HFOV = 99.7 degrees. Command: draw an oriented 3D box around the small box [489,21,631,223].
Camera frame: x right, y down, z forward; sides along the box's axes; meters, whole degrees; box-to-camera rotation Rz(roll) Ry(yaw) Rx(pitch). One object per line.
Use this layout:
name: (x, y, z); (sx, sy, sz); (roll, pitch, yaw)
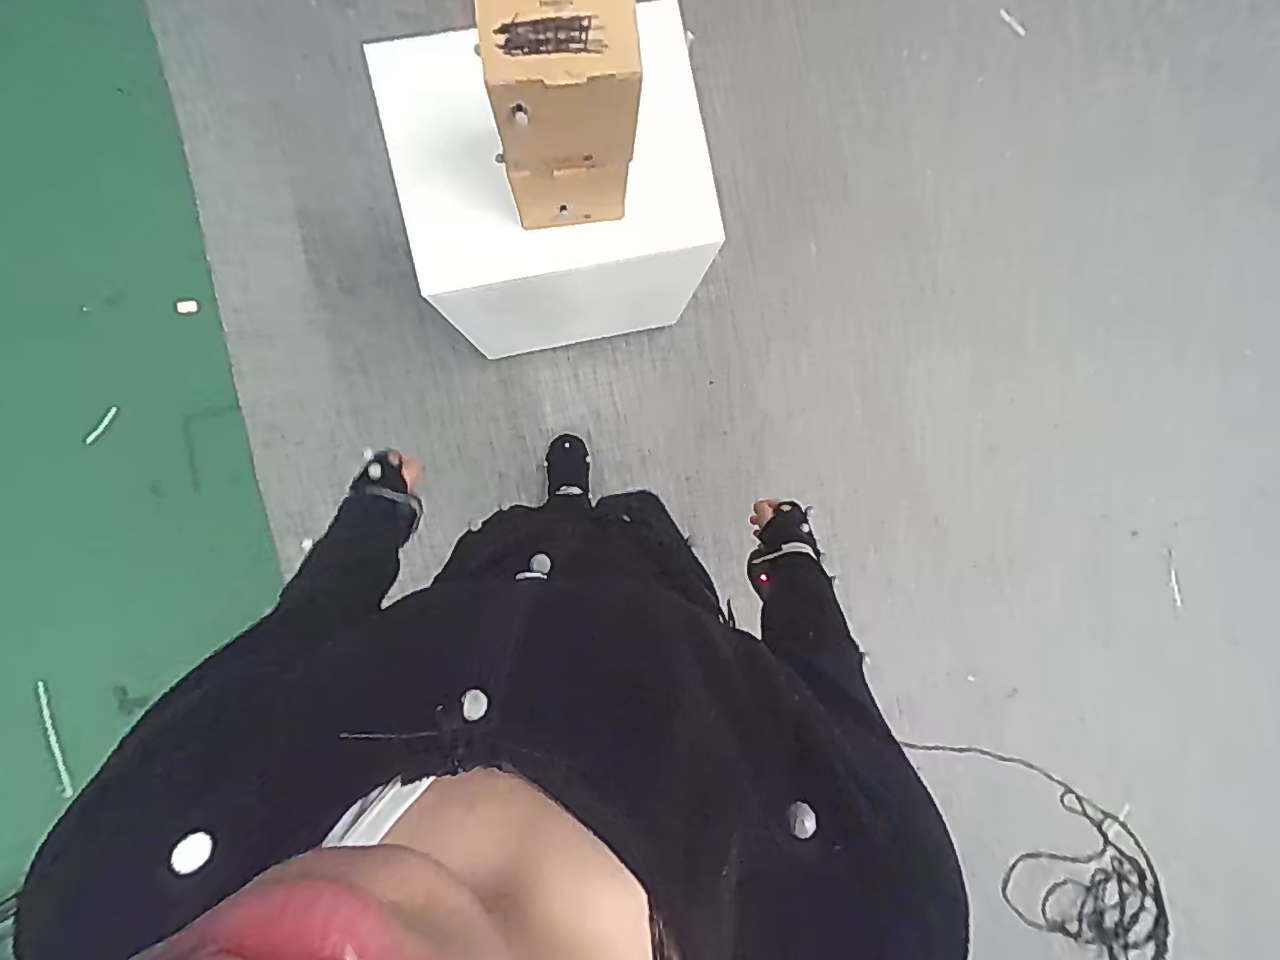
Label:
small box: (-0.110, -0.502, 0.779); (0.168, 0.176, 0.179); (-9, 92, -4)
